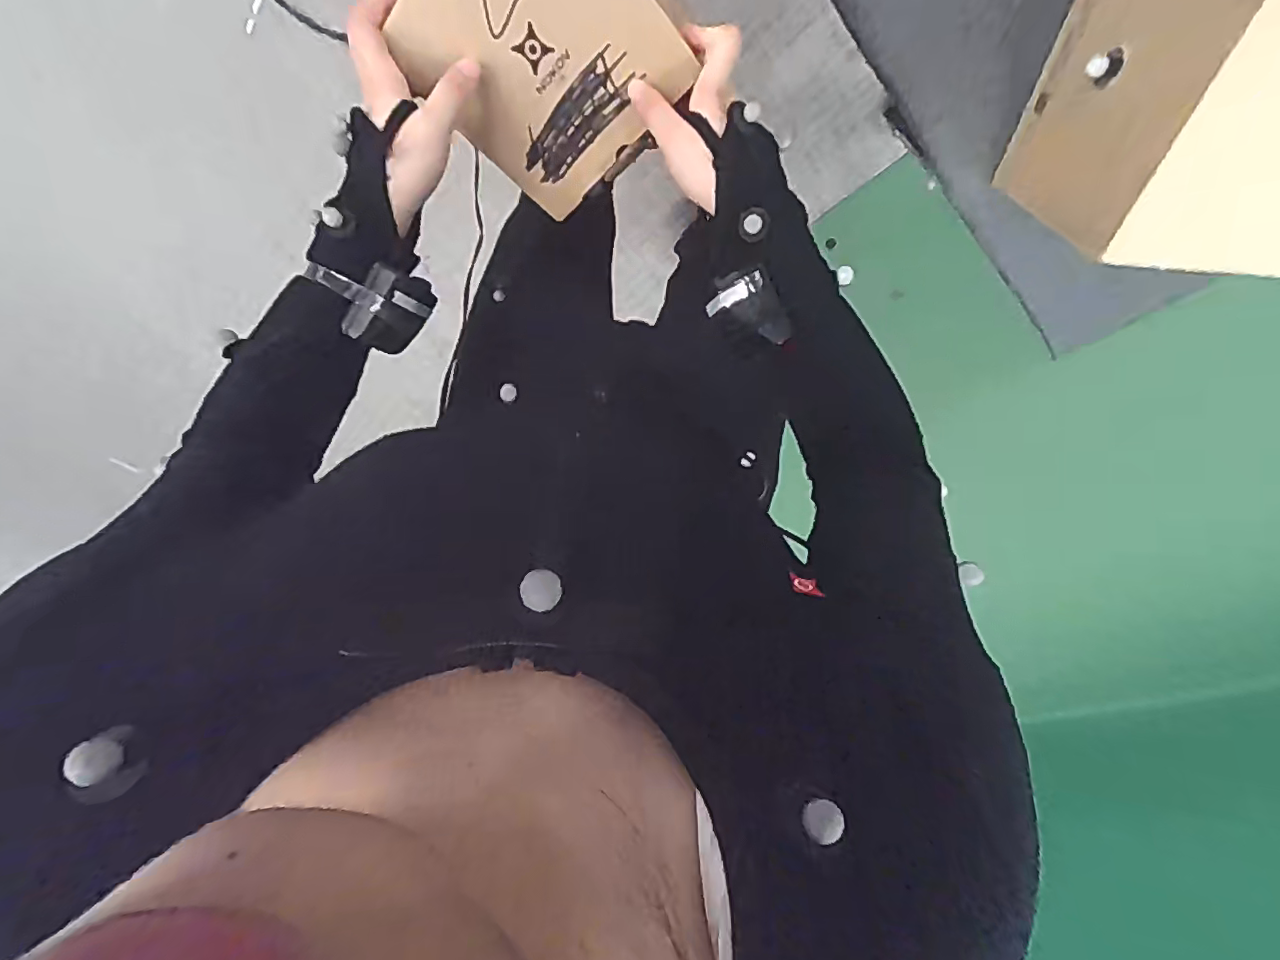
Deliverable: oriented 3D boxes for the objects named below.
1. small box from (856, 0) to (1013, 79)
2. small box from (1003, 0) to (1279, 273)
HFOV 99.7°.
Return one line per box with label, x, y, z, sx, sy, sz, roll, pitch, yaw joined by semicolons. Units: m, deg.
small box;0.434;-0.775;0.832;0.168;0.176;0.179;-25;131;29
small box;0.373;-0.243;0.332;0.179;0.176;0.168;5;135;0
